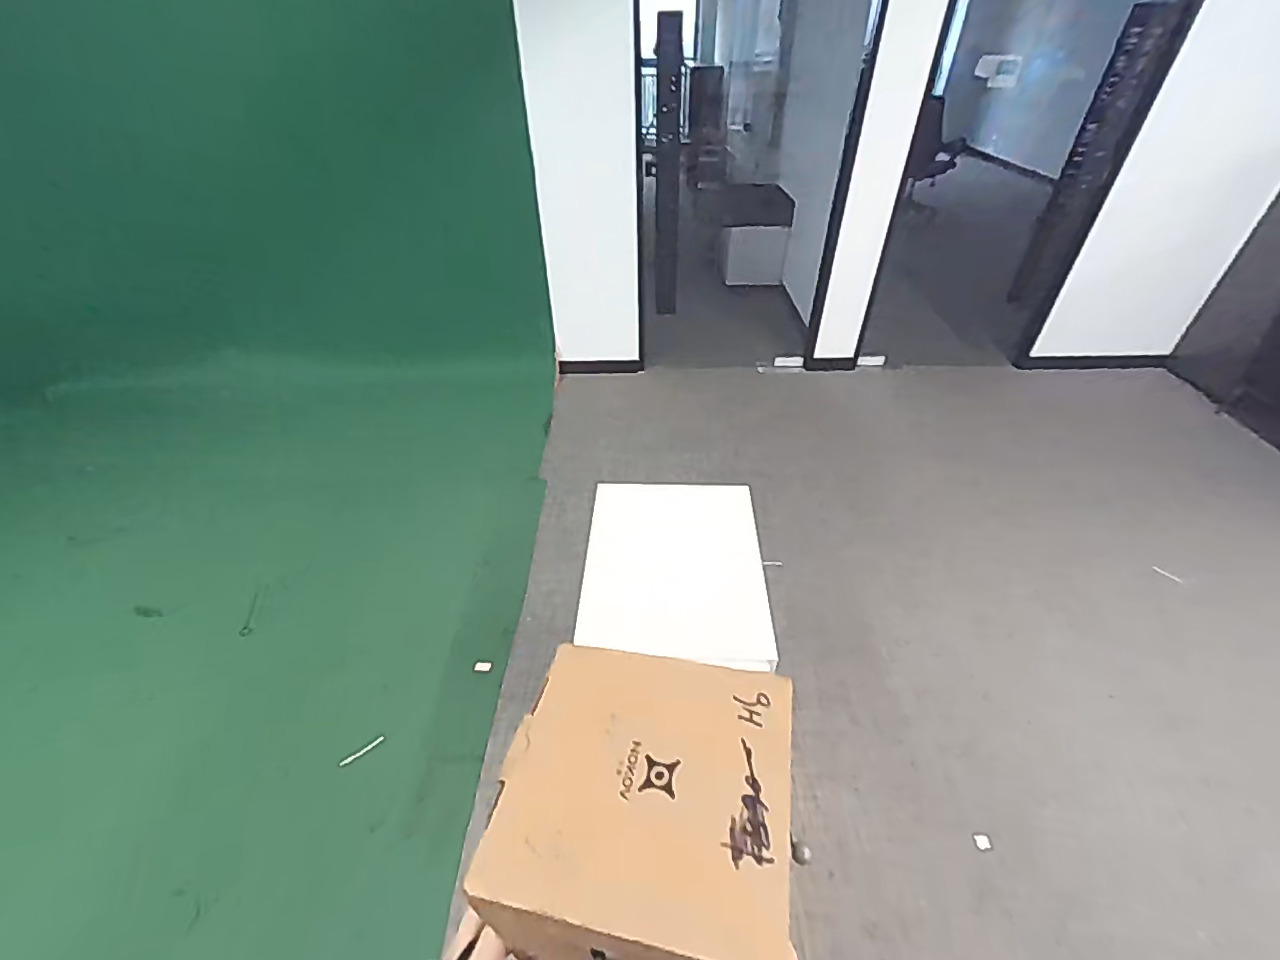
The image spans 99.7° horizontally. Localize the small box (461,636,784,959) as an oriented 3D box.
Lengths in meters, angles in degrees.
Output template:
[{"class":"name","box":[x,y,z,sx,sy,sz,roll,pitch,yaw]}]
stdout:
[{"class":"small box","box":[0.007,0.241,0.391,0.179,0.176,0.168,4,39,13]}]
